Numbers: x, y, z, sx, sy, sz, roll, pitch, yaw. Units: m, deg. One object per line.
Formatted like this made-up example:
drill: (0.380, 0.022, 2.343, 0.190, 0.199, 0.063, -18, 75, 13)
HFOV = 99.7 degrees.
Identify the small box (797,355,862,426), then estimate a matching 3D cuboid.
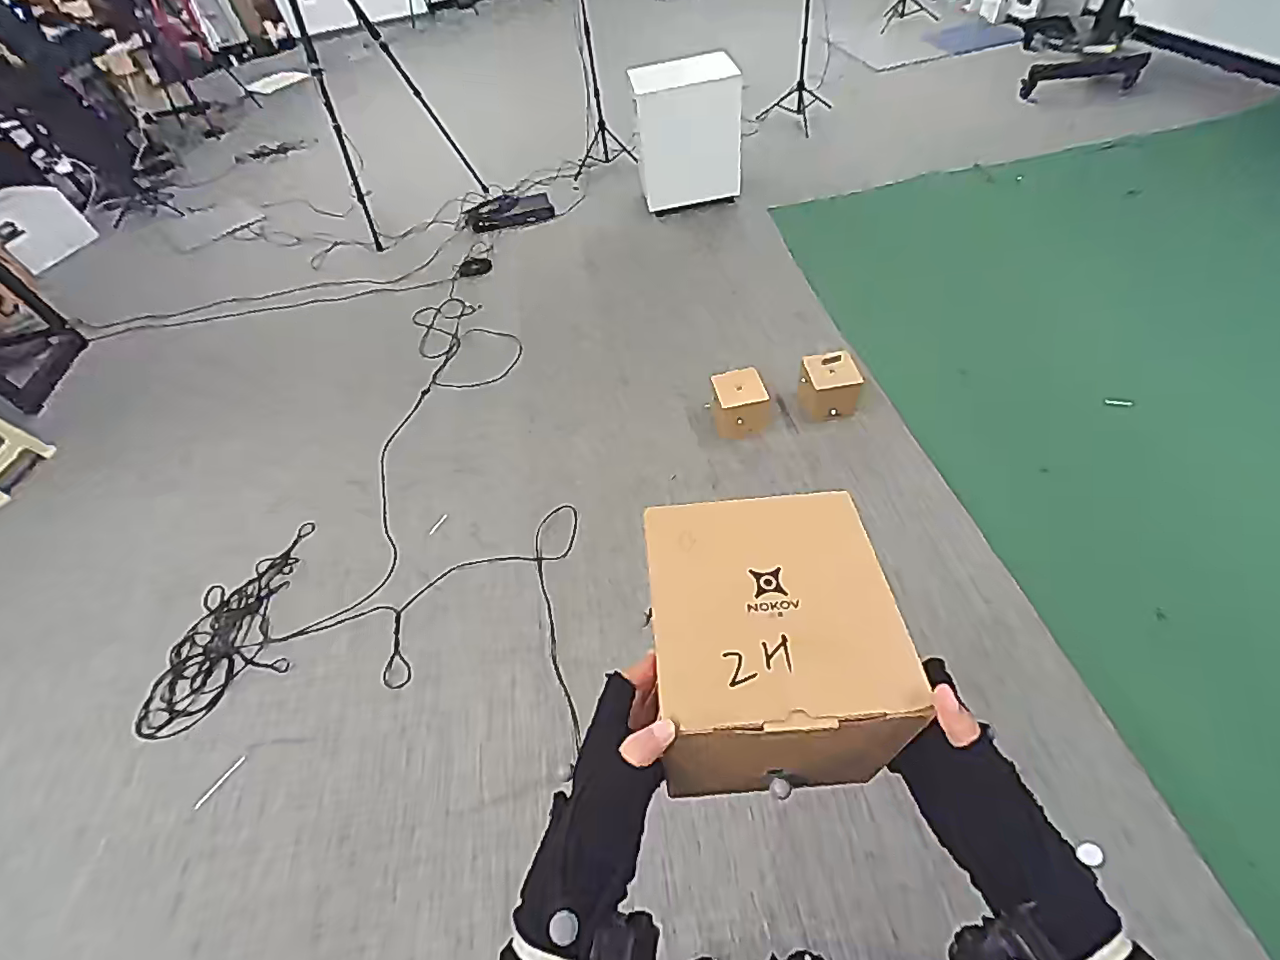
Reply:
small box: (0.674, -0.319, 1.948, 0.168, 0.176, 0.179, -9, 52, 2)

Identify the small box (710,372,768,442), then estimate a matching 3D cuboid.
small box: (0.355, -0.256, 1.950, 0.168, 0.176, 0.179, -12, 50, -1)

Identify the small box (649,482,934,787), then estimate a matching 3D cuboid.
small box: (0.096, 0.125, 0.437, 0.168, 0.176, 0.179, -5, 47, 1)
